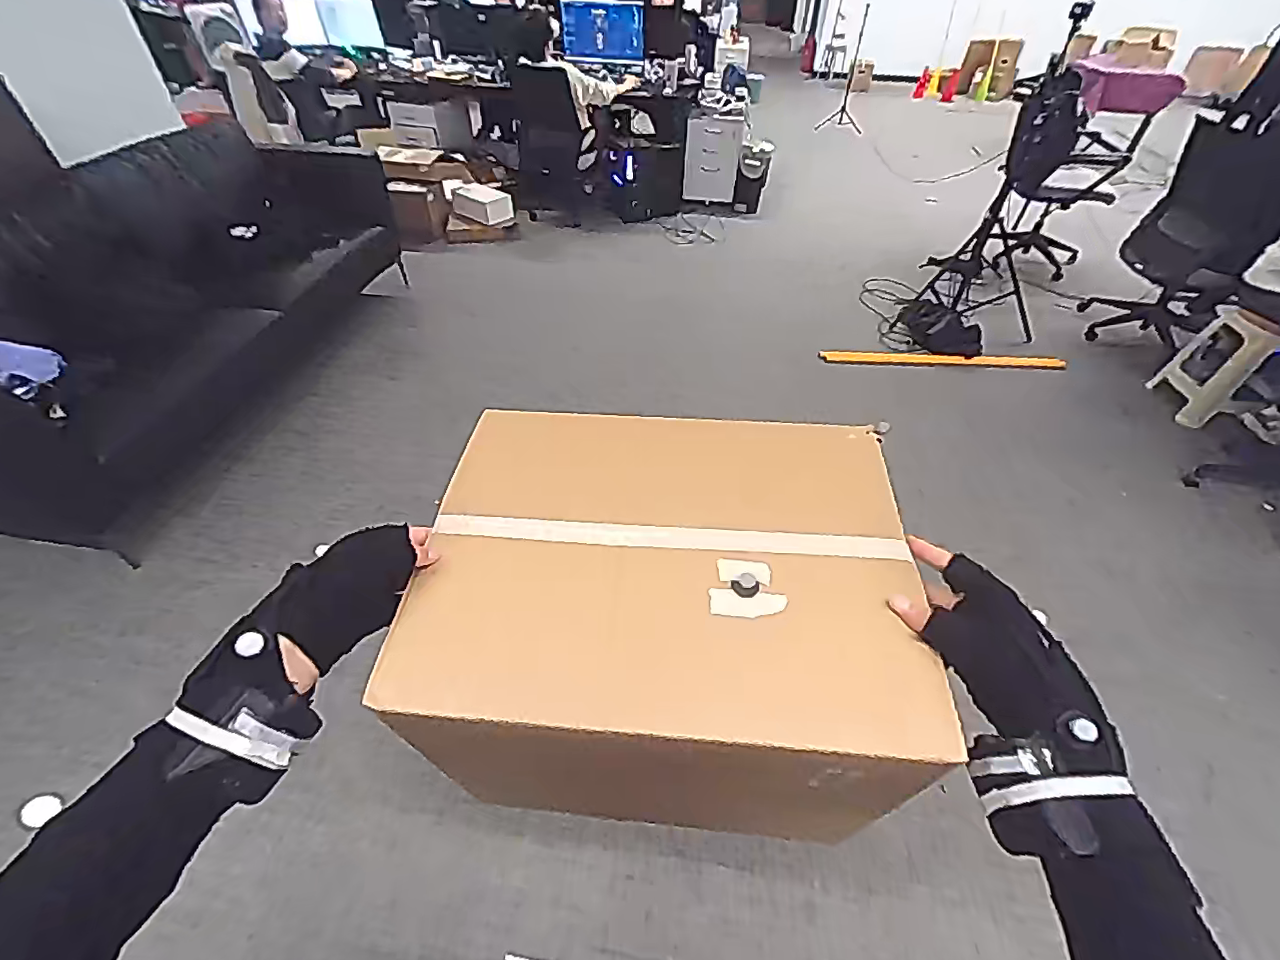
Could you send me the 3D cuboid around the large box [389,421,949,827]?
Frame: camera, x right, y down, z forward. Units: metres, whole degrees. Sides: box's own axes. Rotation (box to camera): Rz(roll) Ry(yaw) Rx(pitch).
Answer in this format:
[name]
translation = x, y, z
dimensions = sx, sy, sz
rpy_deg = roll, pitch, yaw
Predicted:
[large box]
translation = 0.028, 0.155, 0.585
dimensions = 0.408, 0.320, 0.320
rpy_deg = 3, 49, 5
